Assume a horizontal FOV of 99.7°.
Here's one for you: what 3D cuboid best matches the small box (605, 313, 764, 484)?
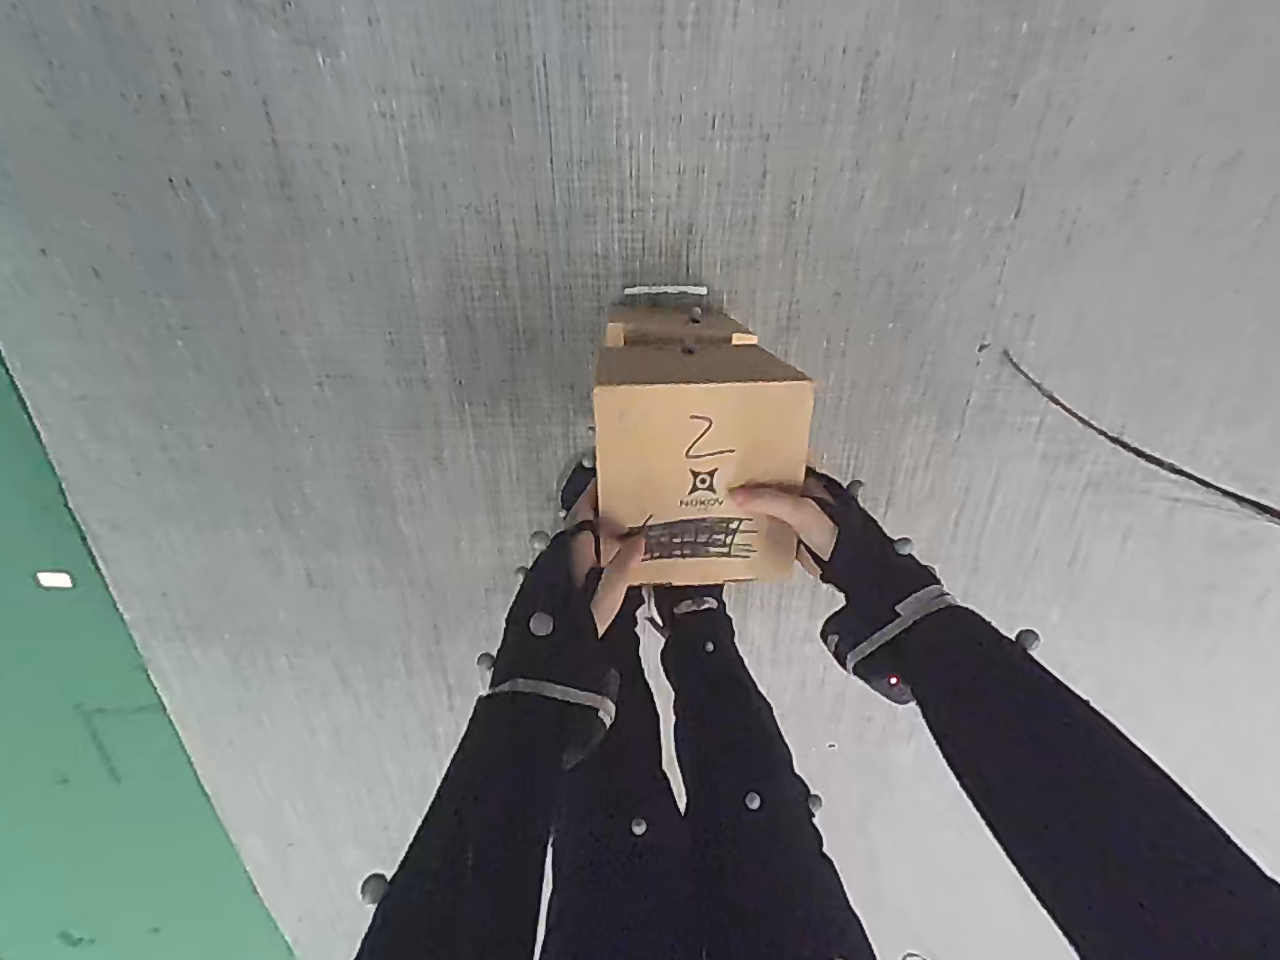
[{"bbox_3d":[0.043,-0.112,0.695,0.168,0.176,0.179,4,115,-5],"label":"small box"}]
